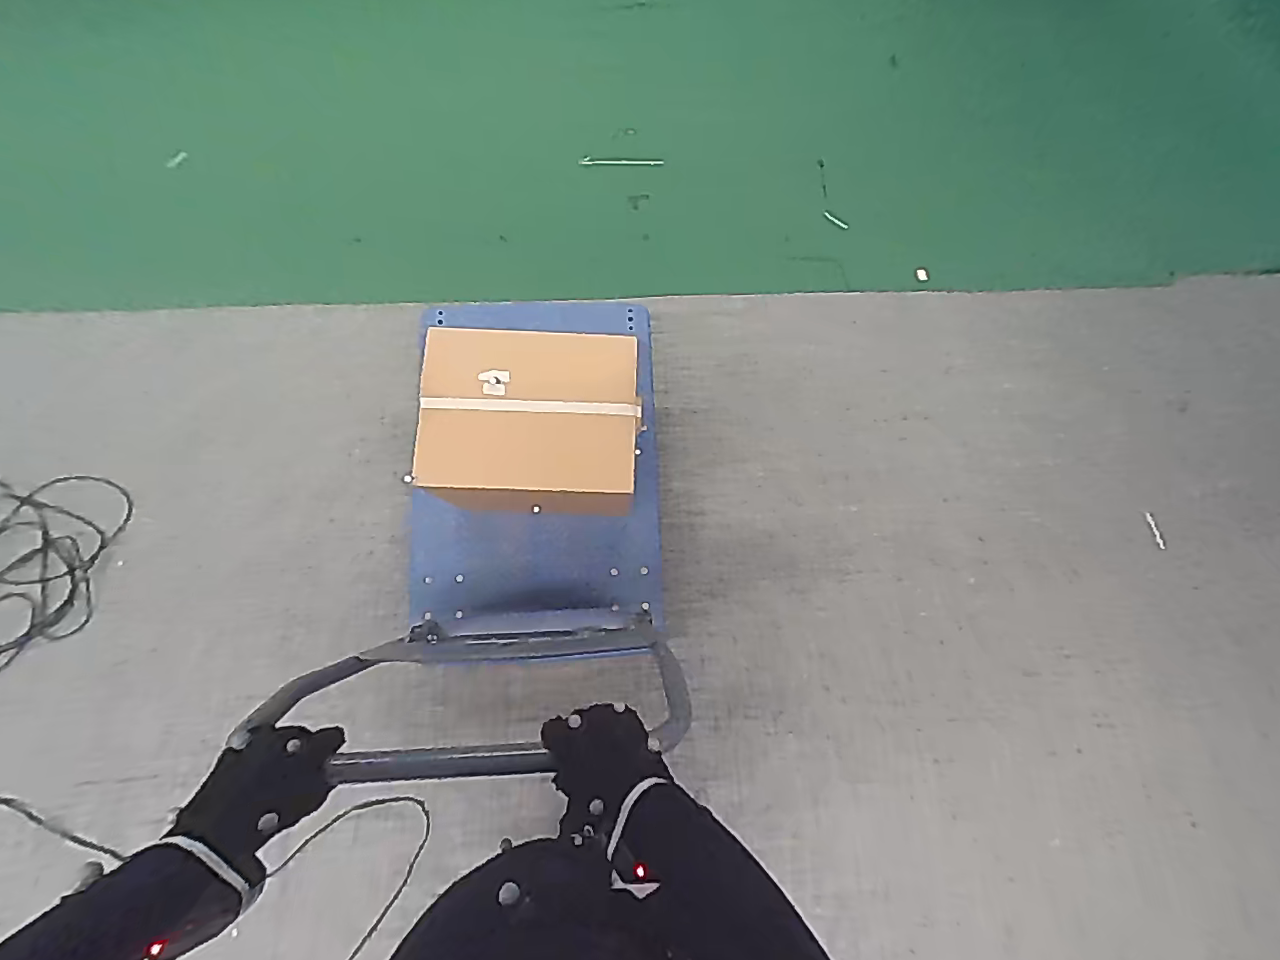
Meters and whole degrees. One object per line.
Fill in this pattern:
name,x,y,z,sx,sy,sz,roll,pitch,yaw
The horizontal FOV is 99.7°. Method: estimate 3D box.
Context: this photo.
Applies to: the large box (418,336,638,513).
large box,-0.207,-0.097,1.161,0.408,0.320,0.320,2,78,-1
